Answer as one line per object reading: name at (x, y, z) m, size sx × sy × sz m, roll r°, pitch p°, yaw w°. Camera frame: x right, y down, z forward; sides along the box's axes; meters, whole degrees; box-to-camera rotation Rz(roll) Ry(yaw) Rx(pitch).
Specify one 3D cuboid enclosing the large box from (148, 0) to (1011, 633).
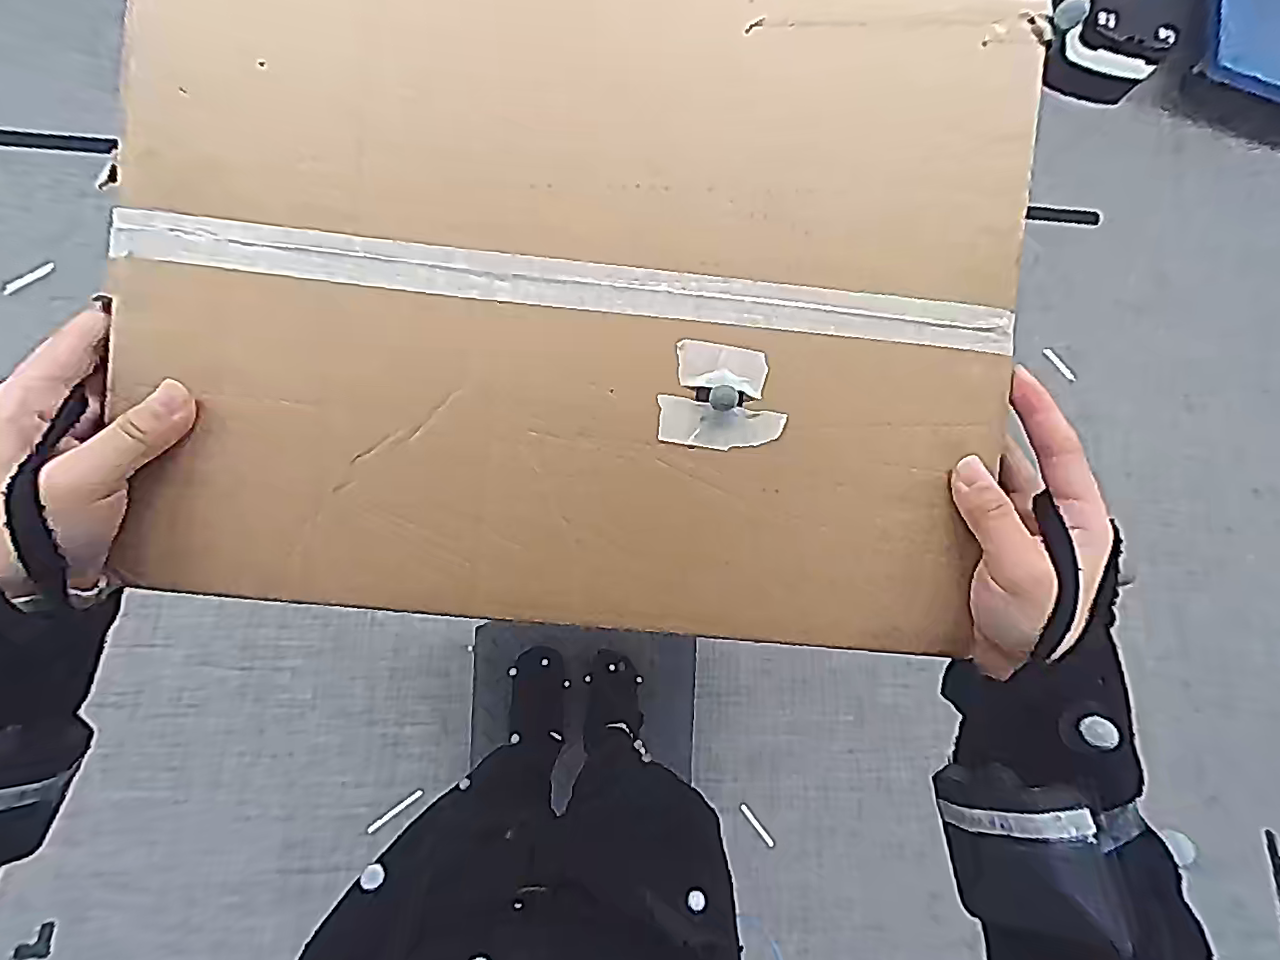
large box at (-0.032, -0.092, 0.412) m, size 0.408 × 0.320 × 0.320 m, roll 6°, pitch 92°, yaw -3°

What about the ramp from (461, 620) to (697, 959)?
ramp at (-0.132, 0.818, 1.190) m, size 0.509 × 0.206 × 0.991 m, roll 1°, pitch 79°, yaw -6°
